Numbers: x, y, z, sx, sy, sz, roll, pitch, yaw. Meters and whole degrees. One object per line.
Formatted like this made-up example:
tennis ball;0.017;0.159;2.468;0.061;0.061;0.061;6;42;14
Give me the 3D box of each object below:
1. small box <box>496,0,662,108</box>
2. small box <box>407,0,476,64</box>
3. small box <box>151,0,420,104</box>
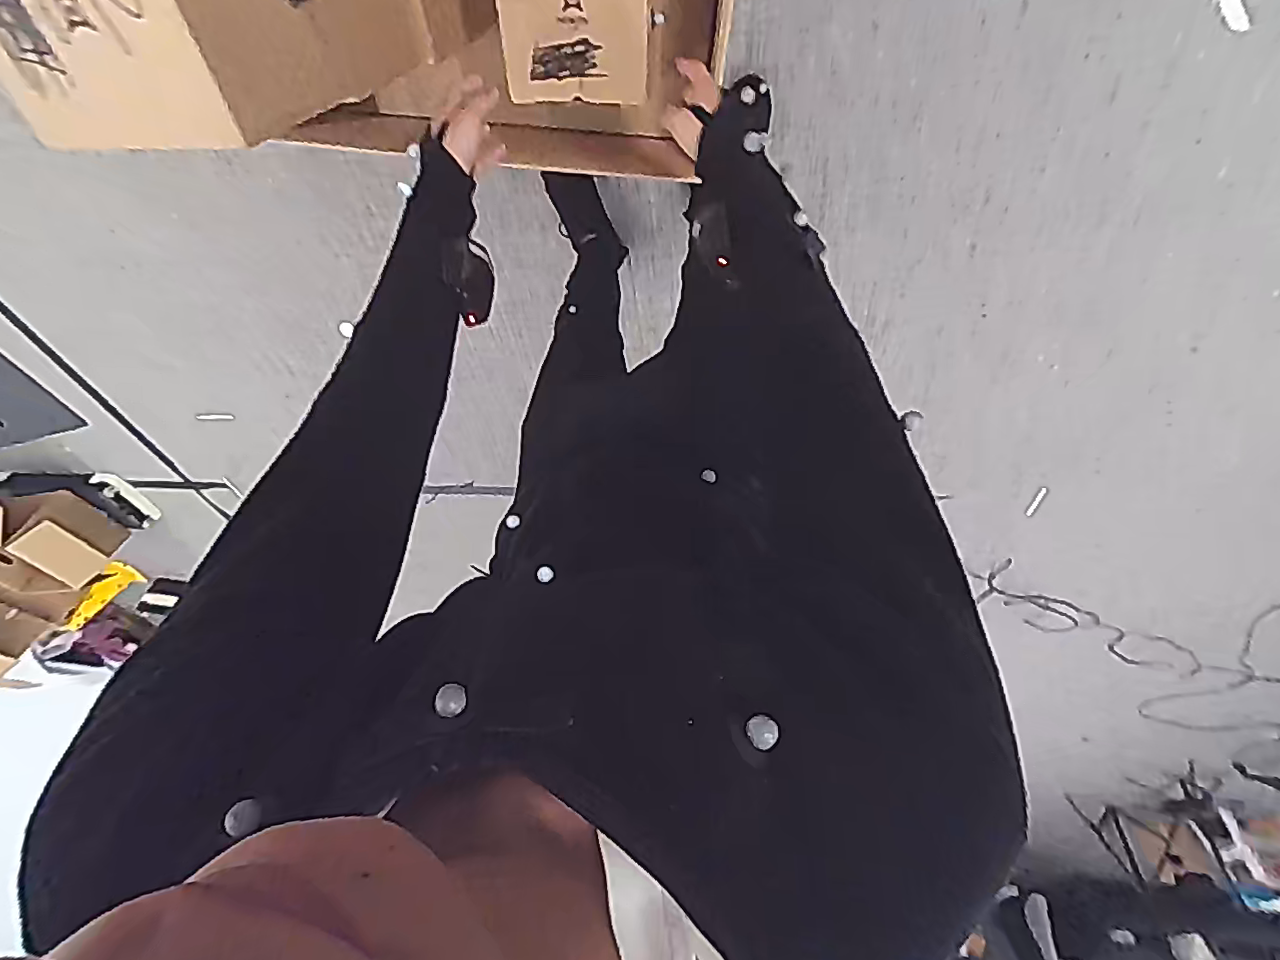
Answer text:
small box;-0.063;-0.560;0.630;0.168;0.176;0.179;5;137;5
small box;-0.314;-0.604;0.628;0.179;0.176;0.168;4;138;4
small box;-0.343;-0.486;0.518;0.168;0.176;0.179;4;137;7
